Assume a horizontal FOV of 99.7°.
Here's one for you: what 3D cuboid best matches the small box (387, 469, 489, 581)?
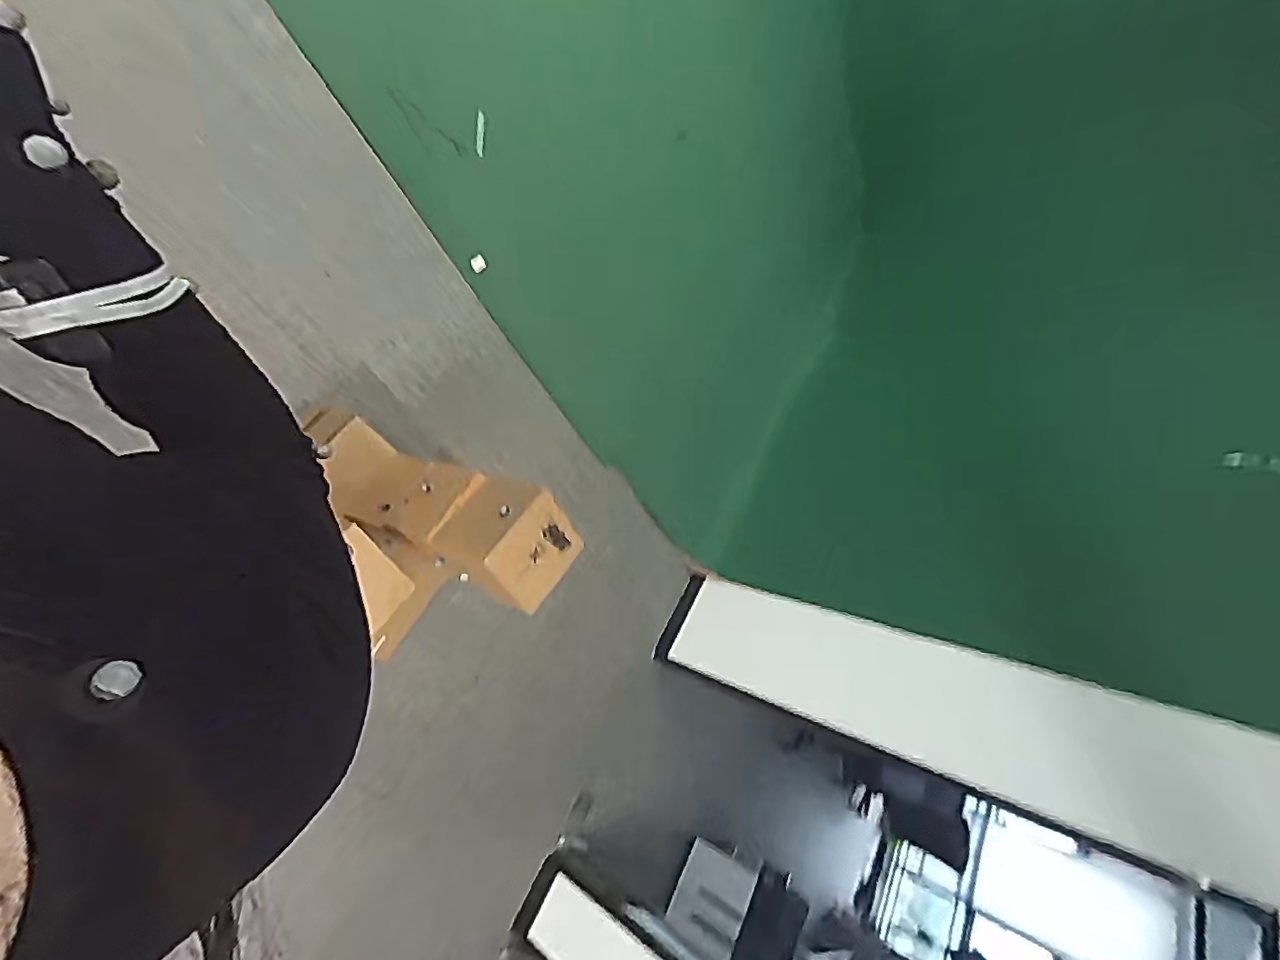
[{"bbox_3d":[-0.379,0.095,1.122,0.168,0.176,0.179,-57,136,-26],"label":"small box"}]

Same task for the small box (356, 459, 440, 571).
[{"bbox_3d":[-0.506,0.074,1.222,0.179,0.176,0.168,-59,138,-24],"label":"small box"}]

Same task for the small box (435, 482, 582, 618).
[{"bbox_3d":[-0.248,0.124,1.026,0.179,0.176,0.168,-52,134,-29],"label":"small box"}]

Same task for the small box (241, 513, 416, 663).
[{"bbox_3d":[-0.539,0.179,0.941,0.168,0.176,0.179,-51,133,-31],"label":"small box"}]
